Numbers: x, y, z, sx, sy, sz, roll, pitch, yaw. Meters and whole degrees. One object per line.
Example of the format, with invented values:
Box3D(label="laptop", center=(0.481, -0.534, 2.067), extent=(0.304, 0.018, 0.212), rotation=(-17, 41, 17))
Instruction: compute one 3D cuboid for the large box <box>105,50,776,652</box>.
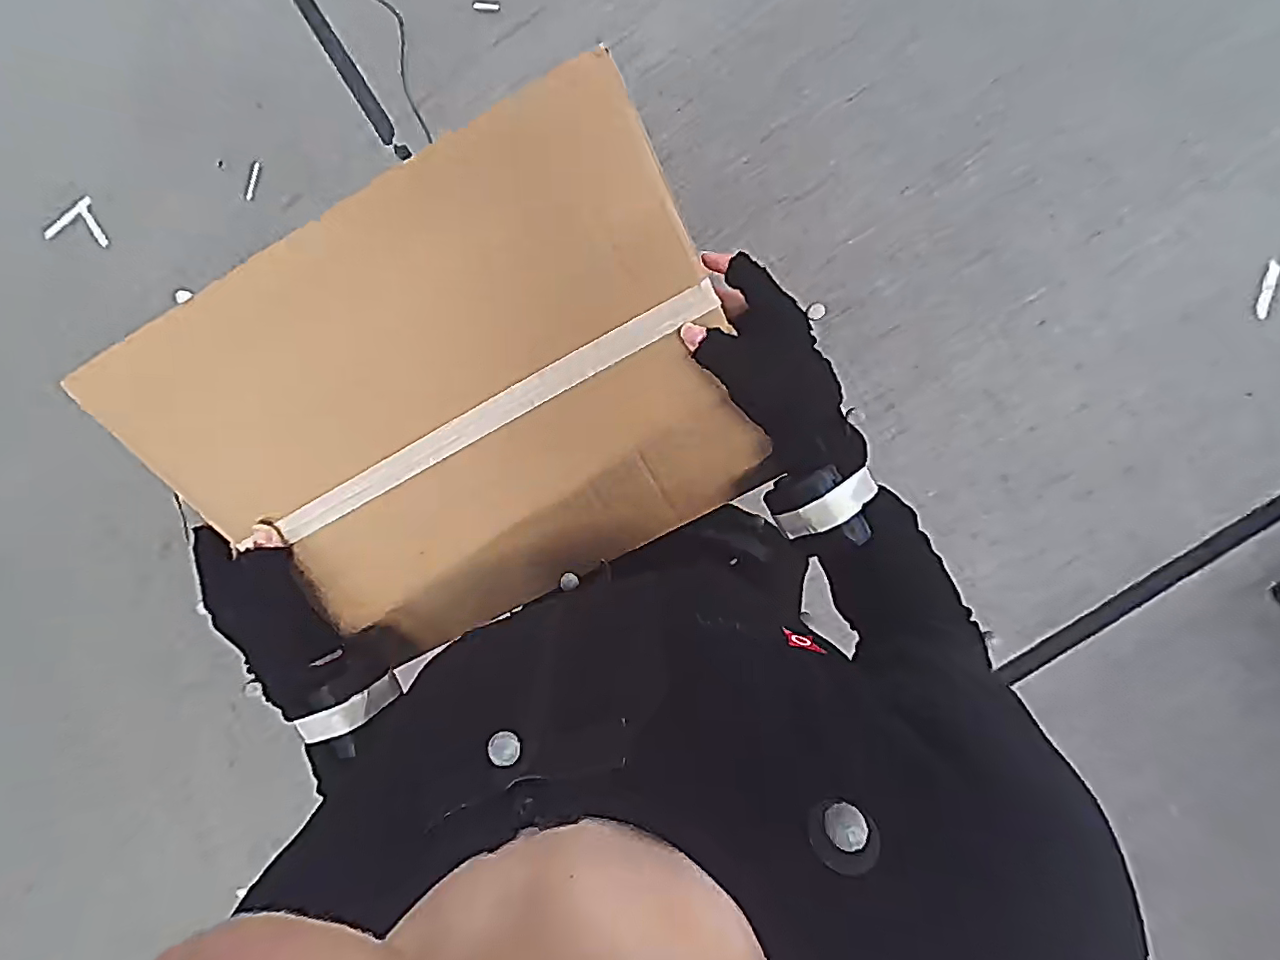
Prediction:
Box3D(label="large box", center=(-0.144, -0.111, 0.542), extent=(0.408, 0.320, 0.320), rotation=(-27, 117, 7))
